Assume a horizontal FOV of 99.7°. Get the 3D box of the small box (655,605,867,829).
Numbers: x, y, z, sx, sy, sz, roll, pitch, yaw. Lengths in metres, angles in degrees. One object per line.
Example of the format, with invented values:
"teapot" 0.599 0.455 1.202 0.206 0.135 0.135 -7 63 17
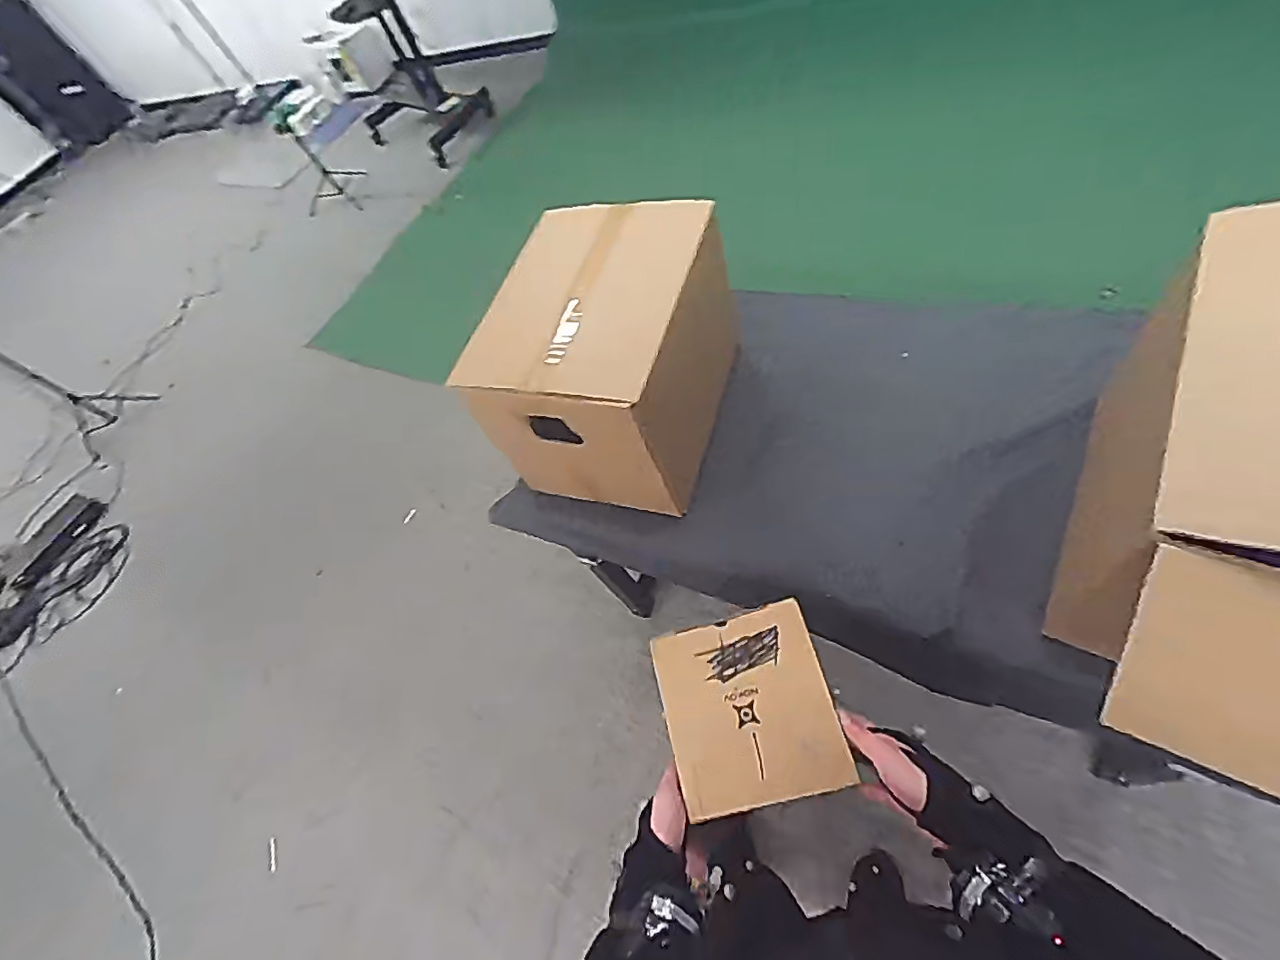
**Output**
"small box" 0.127 0.254 0.590 0.168 0.176 0.179 -17 64 10
